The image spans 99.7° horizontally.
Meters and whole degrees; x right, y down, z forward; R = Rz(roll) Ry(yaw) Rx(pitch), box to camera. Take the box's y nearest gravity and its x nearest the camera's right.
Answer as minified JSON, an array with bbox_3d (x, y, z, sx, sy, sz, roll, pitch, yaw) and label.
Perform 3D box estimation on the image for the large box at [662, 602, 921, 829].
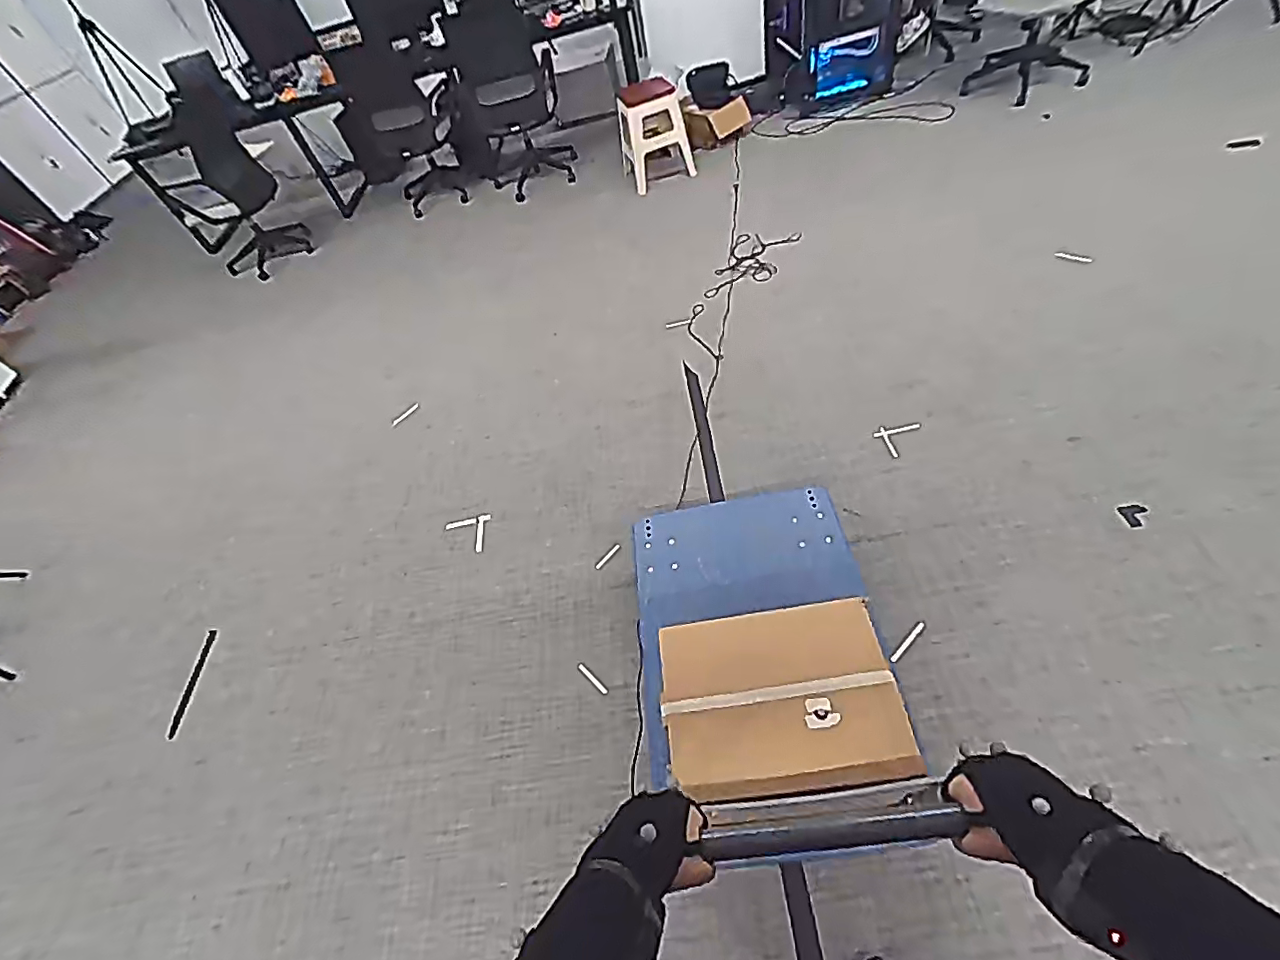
[{"bbox_3d":[0.276,0.486,1.096,0.408,0.320,0.320,-10,51,6],"label":"large box"}]
